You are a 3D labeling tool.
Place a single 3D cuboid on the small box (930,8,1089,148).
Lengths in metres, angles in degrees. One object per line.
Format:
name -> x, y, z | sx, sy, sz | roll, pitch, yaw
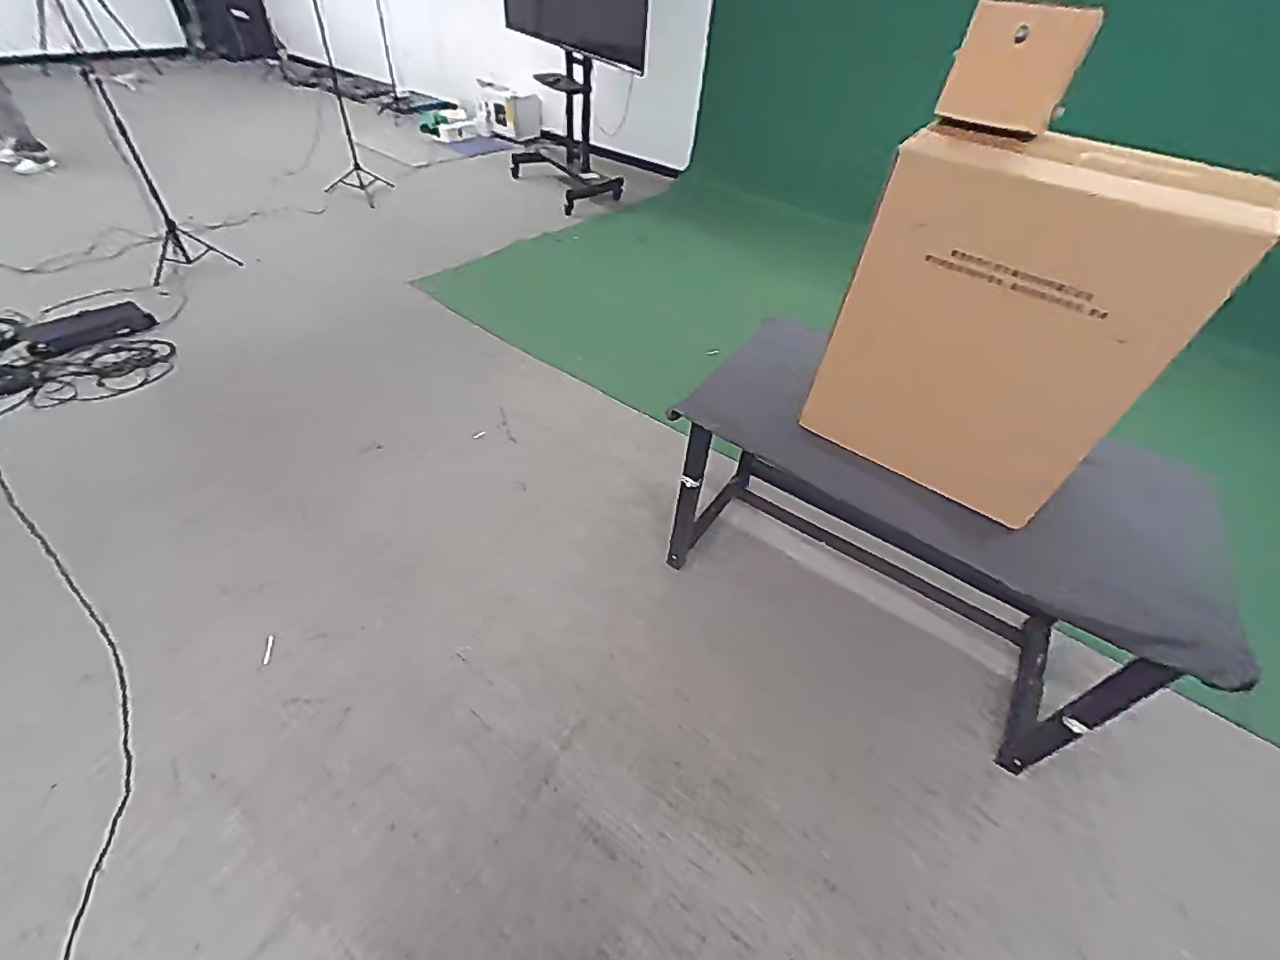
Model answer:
small box -> 0.654, -0.711, 0.969 | 0.179, 0.176, 0.168 | 30, 42, 21
